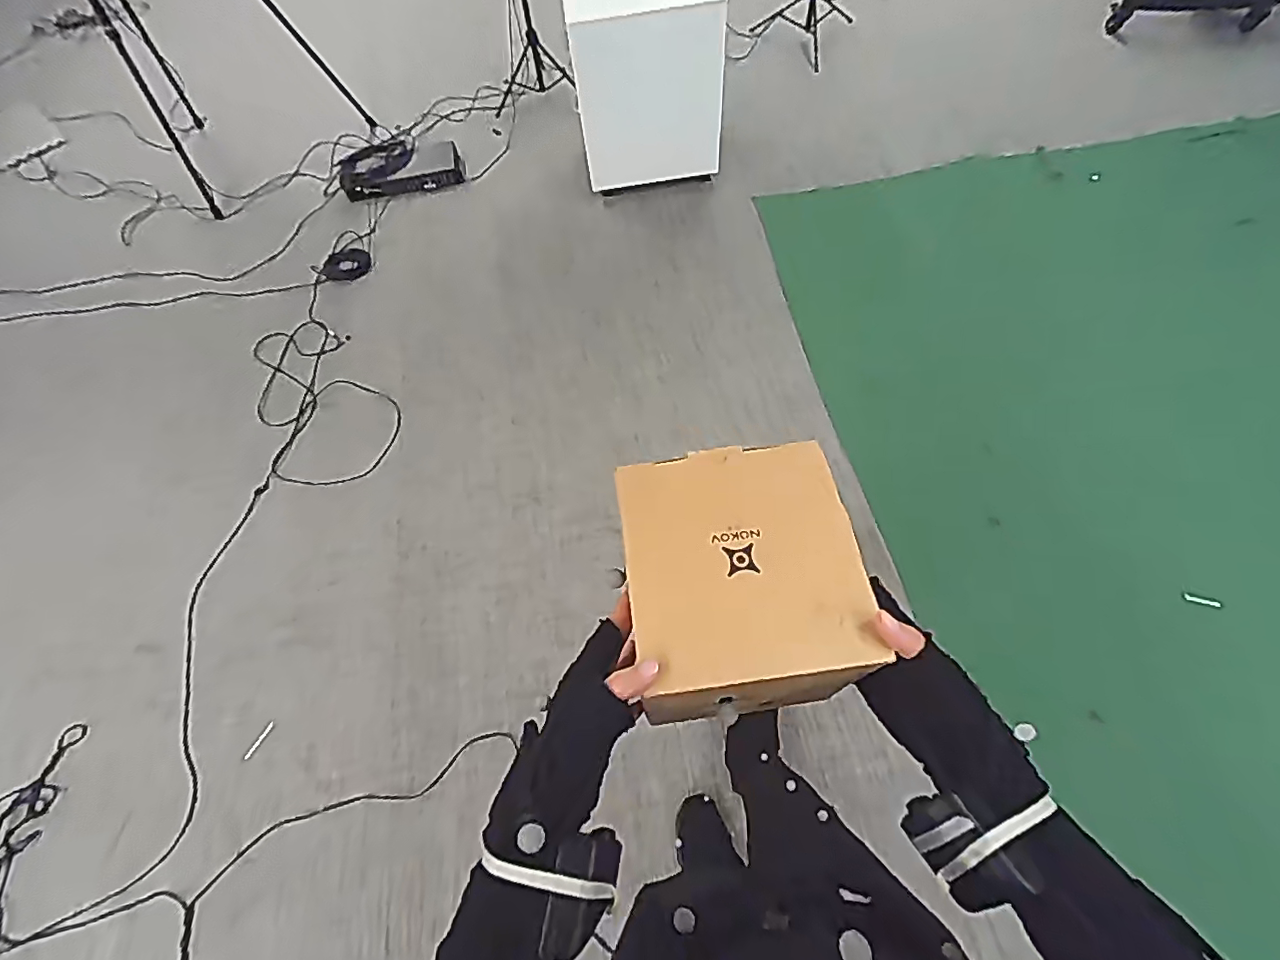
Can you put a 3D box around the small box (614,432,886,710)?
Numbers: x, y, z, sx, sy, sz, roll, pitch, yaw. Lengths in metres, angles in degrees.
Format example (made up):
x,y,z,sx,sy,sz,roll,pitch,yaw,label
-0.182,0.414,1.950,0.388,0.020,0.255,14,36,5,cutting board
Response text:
x,y,z,sx,sy,sz,roll,pitch,yaw,label
0.075,0.087,0.457,0.168,0.176,0.179,-8,58,-1,small box
